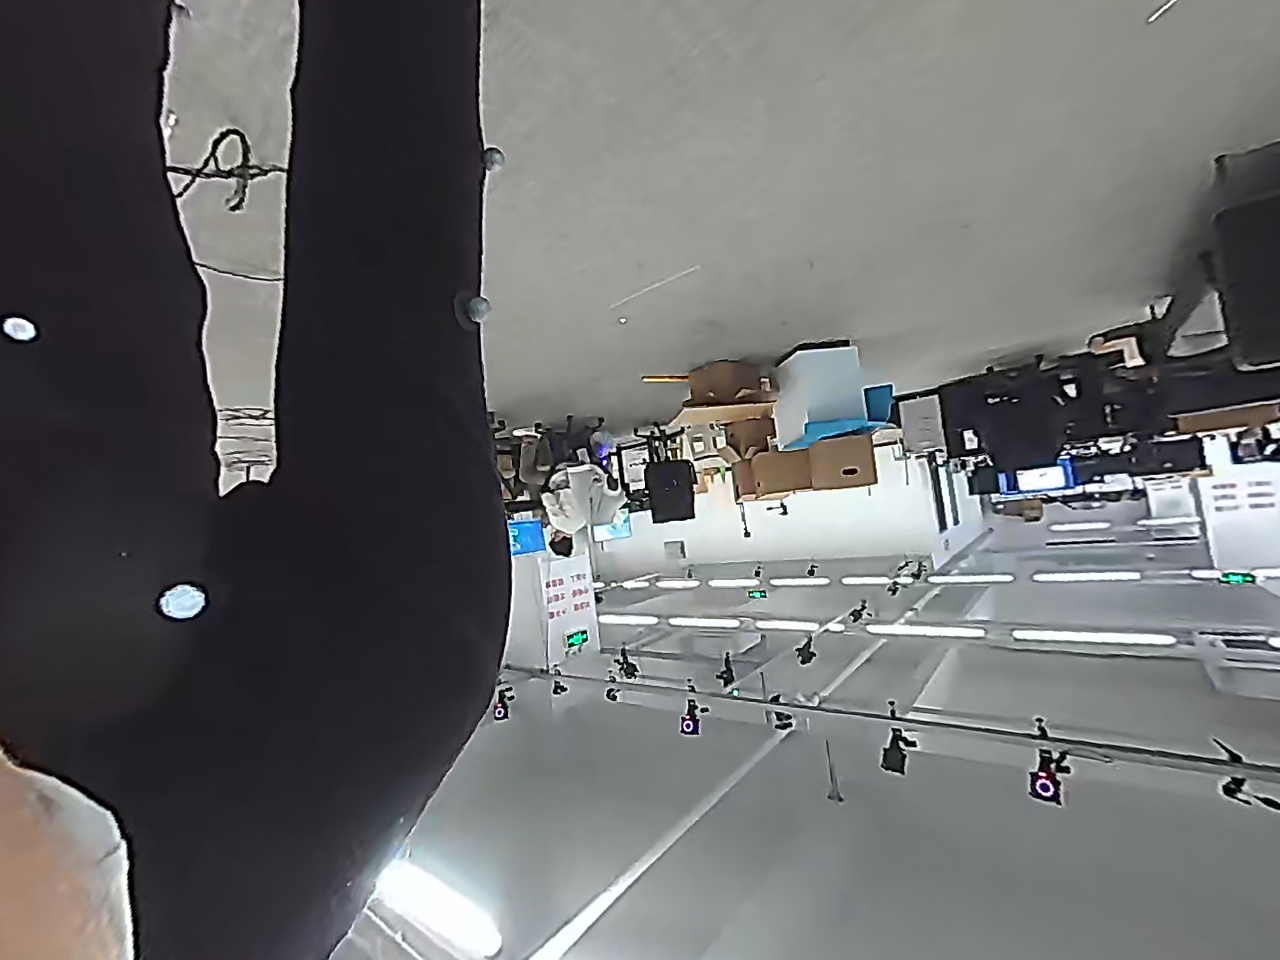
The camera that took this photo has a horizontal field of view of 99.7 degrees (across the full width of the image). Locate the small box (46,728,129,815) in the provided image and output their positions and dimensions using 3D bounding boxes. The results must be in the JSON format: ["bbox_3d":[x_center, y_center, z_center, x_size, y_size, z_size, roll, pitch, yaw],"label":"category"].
[{"bbox_3d":[-1.700,0.884,1.663,0.179,0.176,0.168,-8,177,40],"label":"small box"}]
